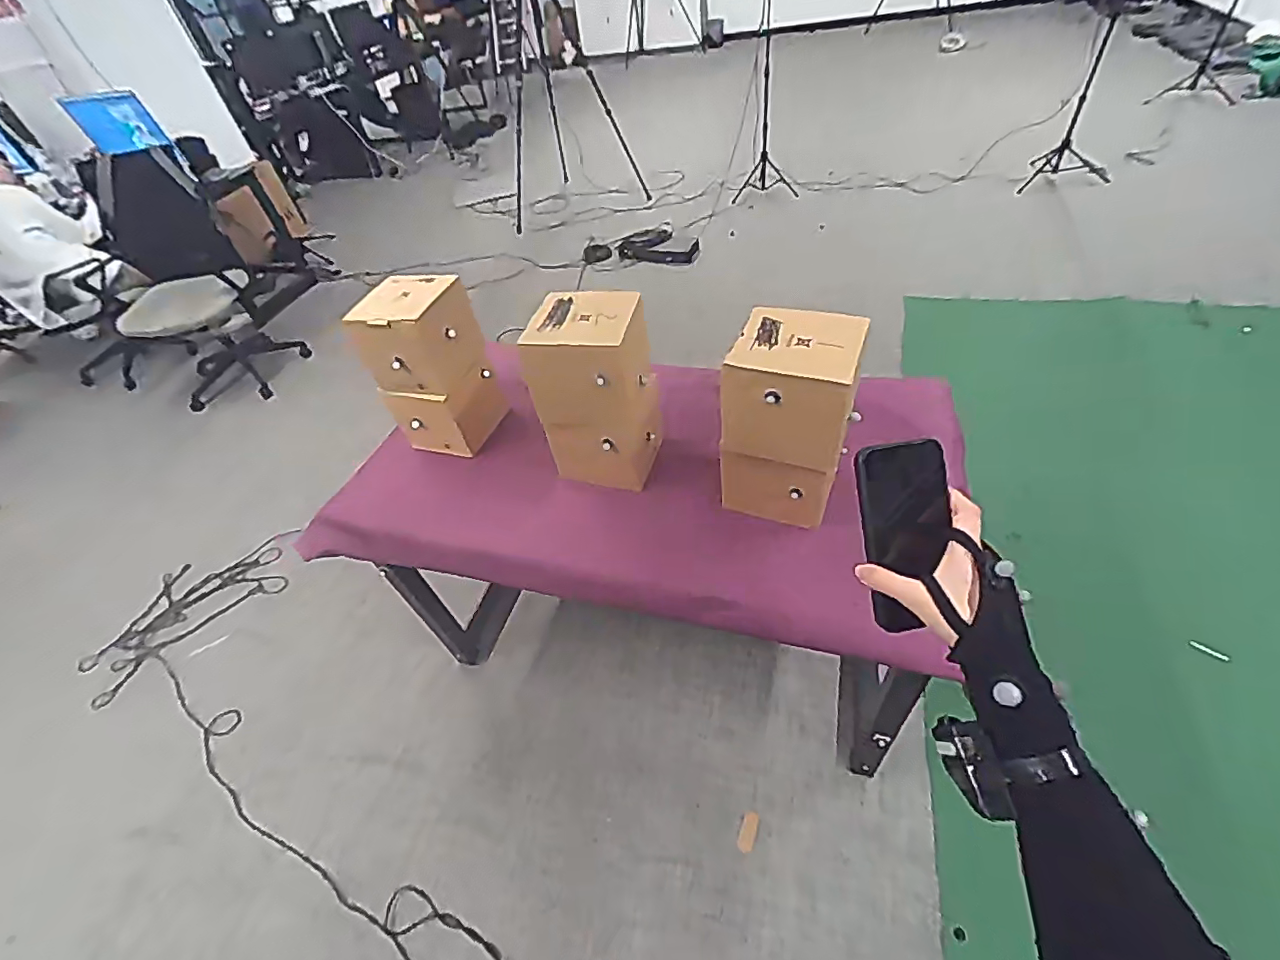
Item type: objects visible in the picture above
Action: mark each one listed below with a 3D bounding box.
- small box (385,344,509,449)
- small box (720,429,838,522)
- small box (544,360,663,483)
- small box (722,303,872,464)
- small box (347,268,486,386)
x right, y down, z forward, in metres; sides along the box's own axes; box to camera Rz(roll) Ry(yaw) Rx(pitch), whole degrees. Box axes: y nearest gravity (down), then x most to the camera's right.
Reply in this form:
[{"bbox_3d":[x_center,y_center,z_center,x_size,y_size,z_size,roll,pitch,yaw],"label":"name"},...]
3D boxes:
[{"bbox_3d":[-0.419,-0.192,1.210,0.168,0.176,0.179,10,50,19],"label":"small box"},{"bbox_3d":[0.253,-0.049,0.958,0.179,0.176,0.168,15,51,23],"label":"small box"},{"bbox_3d":[-0.061,-0.115,1.073,0.179,0.176,0.168,10,50,18],"label":"small box"},{"bbox_3d":[0.235,-0.147,0.827,0.179,0.176,0.168,15,52,22],"label":"small box"},{"bbox_3d":[-0.437,-0.308,1.096,0.168,0.176,0.179,7,50,15],"label":"small box"}]
